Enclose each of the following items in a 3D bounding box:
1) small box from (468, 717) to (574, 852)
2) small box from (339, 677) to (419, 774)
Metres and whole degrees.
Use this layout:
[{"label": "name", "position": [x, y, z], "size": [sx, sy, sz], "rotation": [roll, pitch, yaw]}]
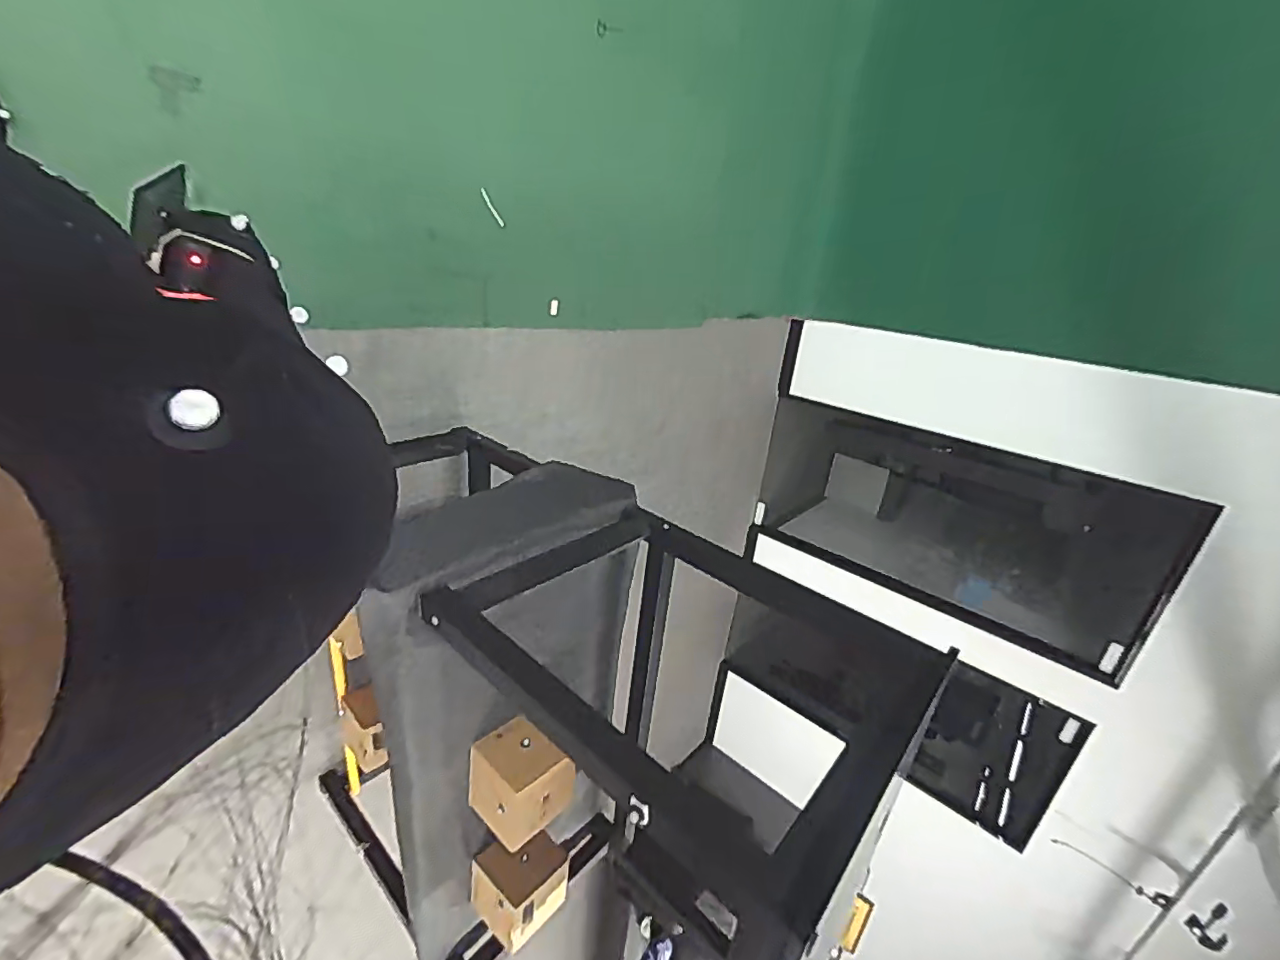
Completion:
[{"label": "small box", "position": [-0.271, 0.667, 1.215], "size": [0.168, 0.176, 0.179], "rotation": [-16, 121, -48]}, {"label": "small box", "position": [-0.800, 0.741, 1.648], "size": [0.179, 0.176, 0.168], "rotation": [-15, 121, -48]}]
